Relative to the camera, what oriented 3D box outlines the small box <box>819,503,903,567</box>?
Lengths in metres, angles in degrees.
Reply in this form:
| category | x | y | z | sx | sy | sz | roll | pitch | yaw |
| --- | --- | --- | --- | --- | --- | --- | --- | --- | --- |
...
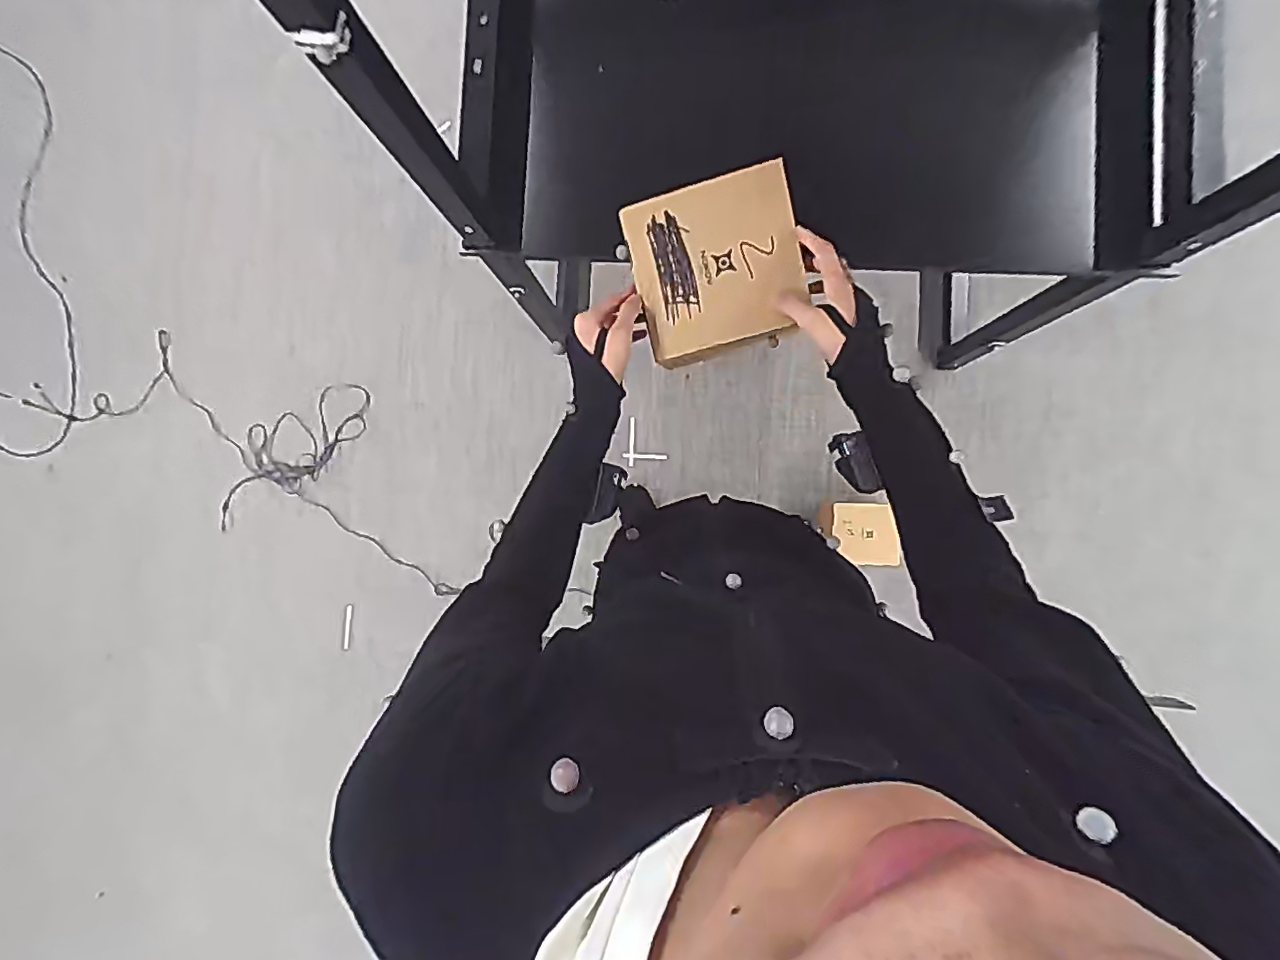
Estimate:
| category | x | y | z | sx | sy | sz | roll | pitch | yaw |
| --- | --- | --- | --- | --- | --- | --- | --- | --- | --- |
| small box | 0.615 | 0.150 | 1.518 | 0.179 | 0.176 | 0.168 | 1 | 88 | 5 |
